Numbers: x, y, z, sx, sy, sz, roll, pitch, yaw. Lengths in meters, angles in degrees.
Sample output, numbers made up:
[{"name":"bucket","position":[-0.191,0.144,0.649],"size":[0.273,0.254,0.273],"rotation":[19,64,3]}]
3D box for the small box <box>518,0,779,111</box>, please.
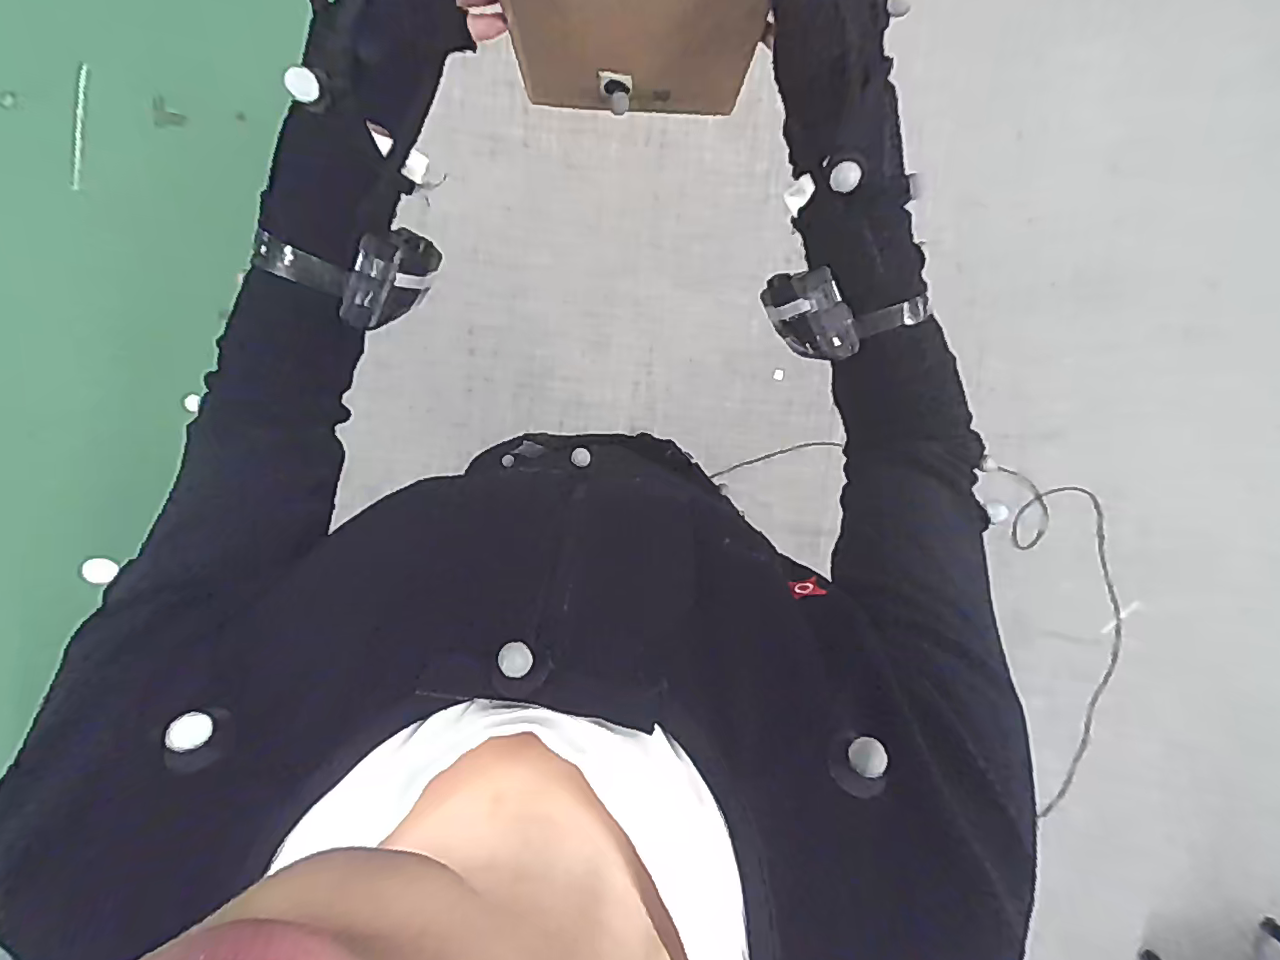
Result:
[{"name":"small box","position":[0.004,-0.378,0.345],"size":[0.168,0.176,0.179],"rotation":[1,98,-2]}]
